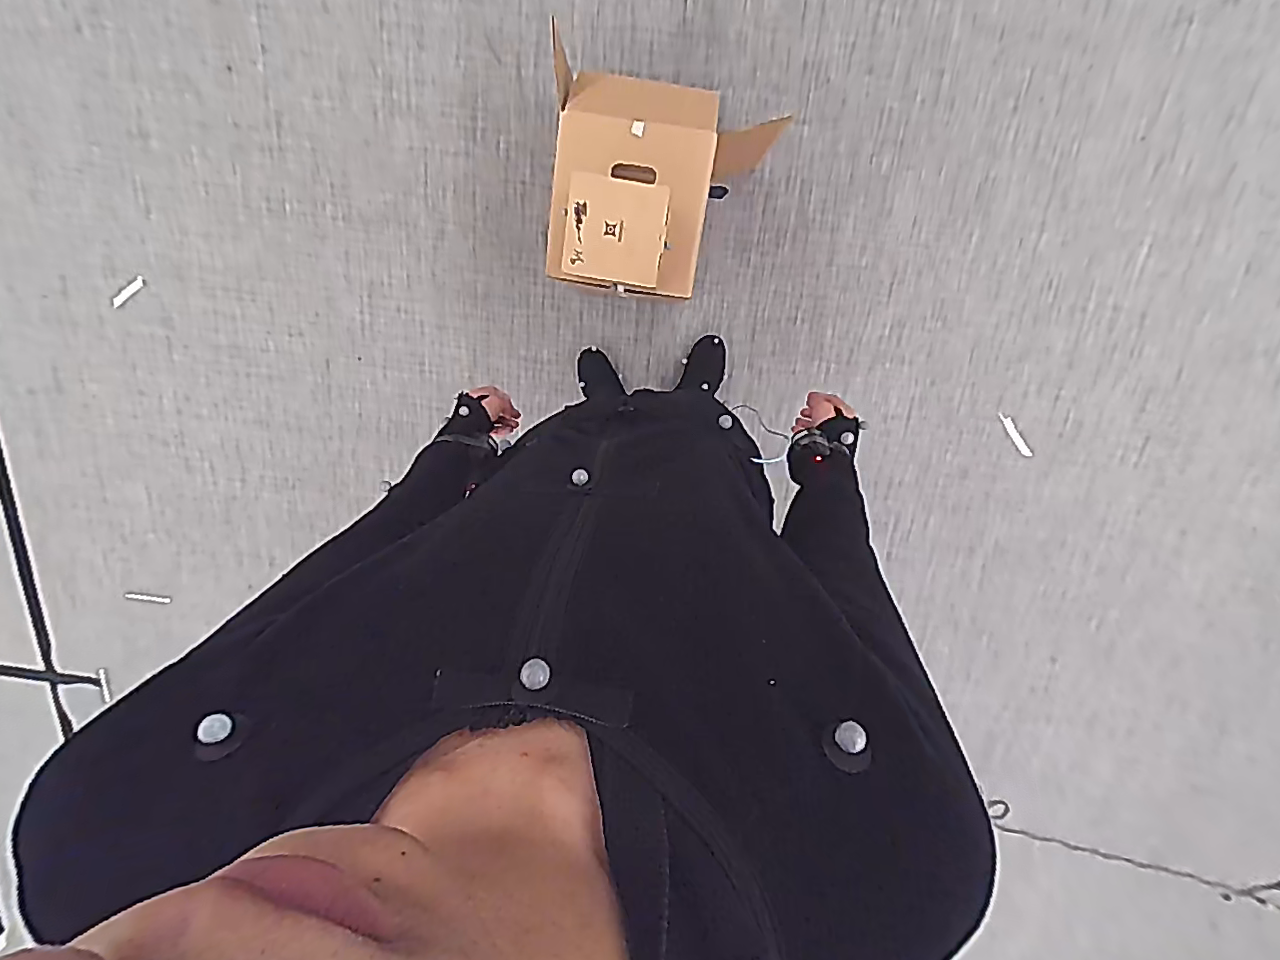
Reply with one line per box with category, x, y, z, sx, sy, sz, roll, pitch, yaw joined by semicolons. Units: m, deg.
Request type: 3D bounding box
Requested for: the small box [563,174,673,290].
small box;-0.039;-0.463;1.032;0.179;0.176;0.168;10;109;-1
